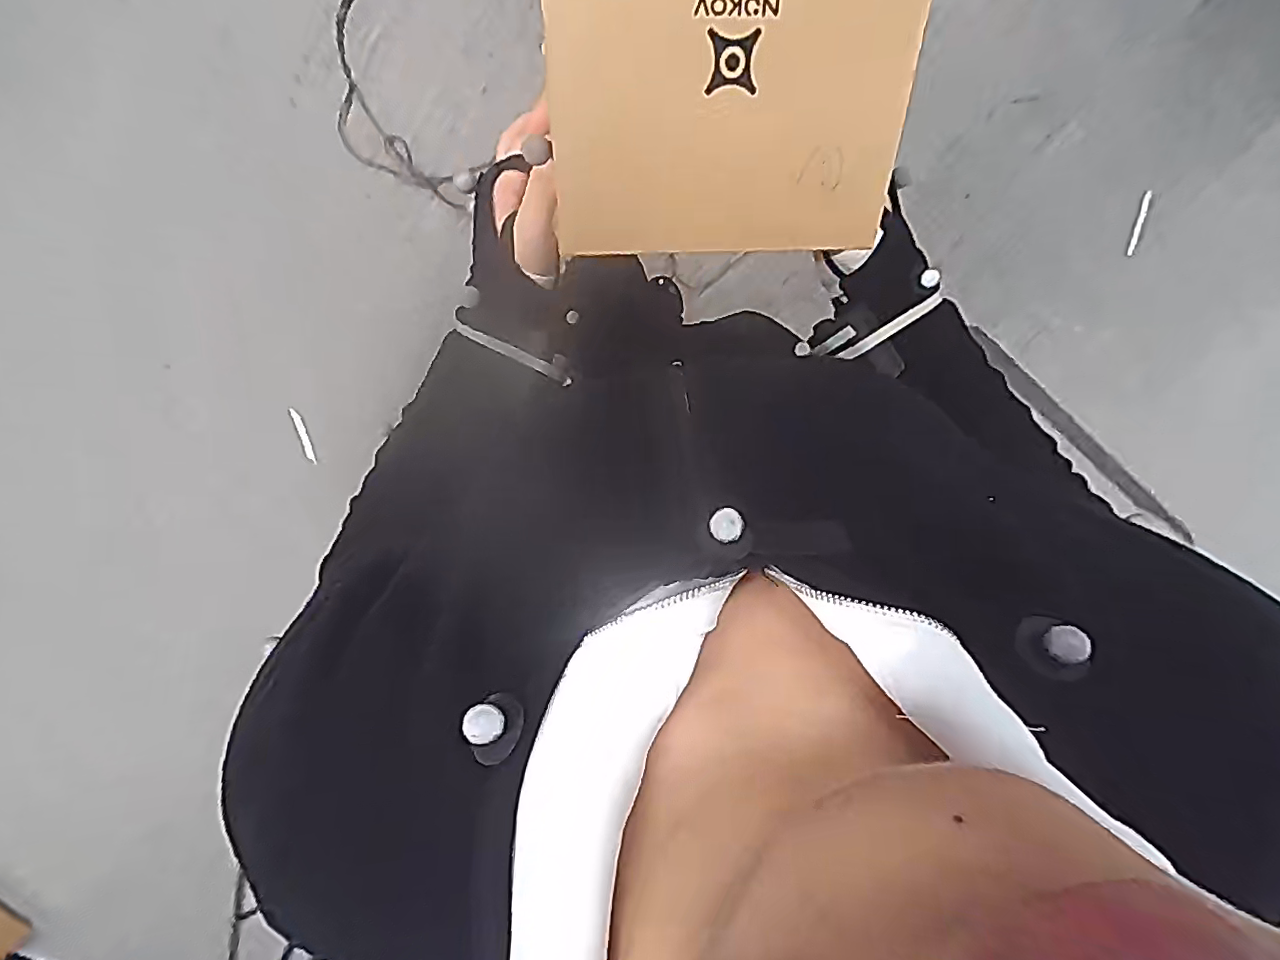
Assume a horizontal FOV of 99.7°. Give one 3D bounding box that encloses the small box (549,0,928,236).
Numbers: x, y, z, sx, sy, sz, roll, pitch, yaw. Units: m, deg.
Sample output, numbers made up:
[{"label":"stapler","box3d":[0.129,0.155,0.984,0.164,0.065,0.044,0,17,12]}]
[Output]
[{"label":"small box","box3d":[0.037,-0.245,0.299,0.168,0.176,0.179,-2,123,-5]}]
